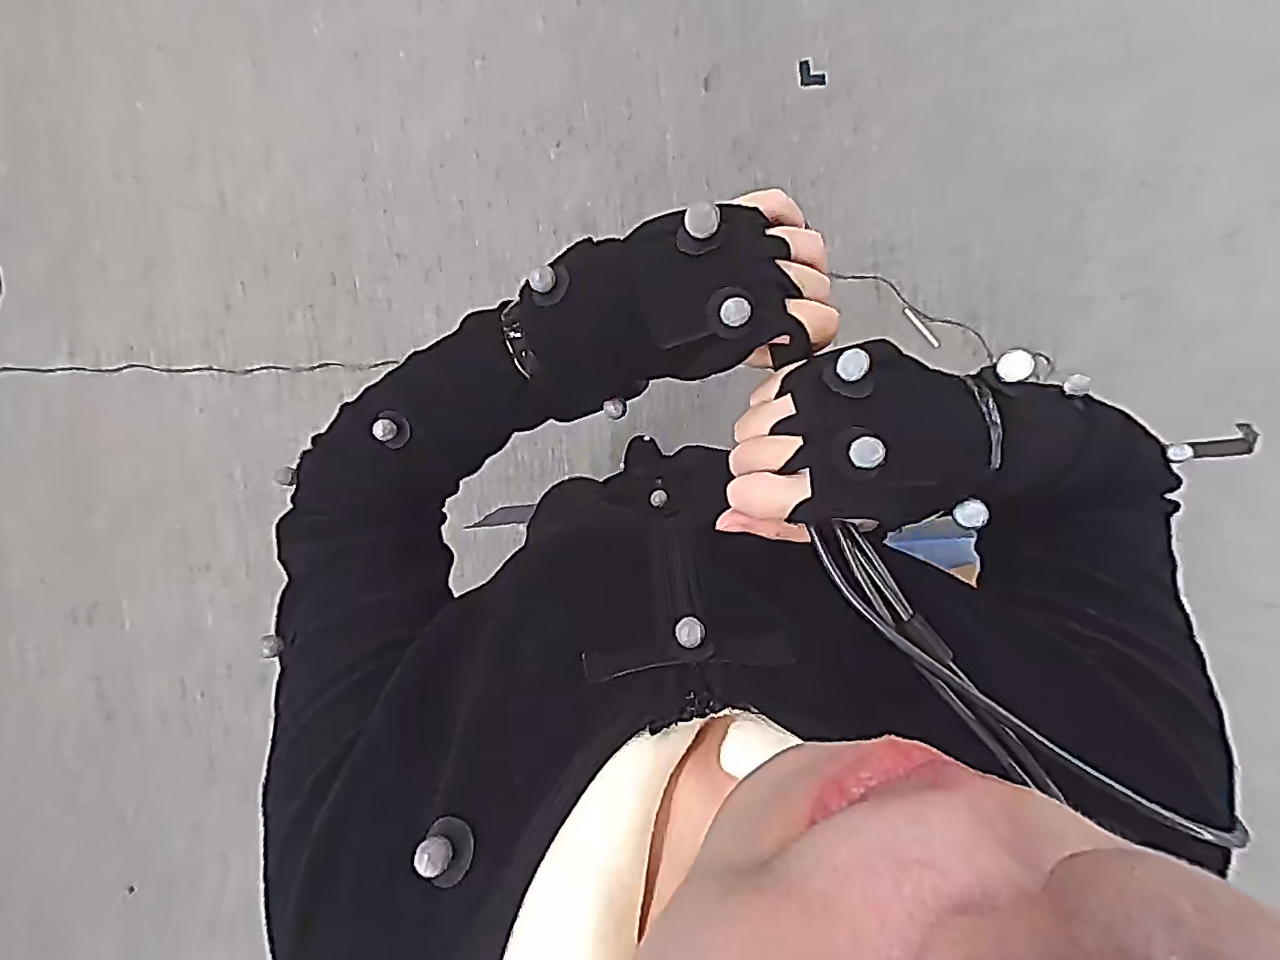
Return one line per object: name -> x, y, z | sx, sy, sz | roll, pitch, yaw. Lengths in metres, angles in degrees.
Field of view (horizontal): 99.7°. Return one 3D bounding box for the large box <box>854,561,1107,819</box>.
large box -> 0.732, 0.437, 1.214 | 0.320, 0.320, 0.408 | -15, 94, -1
